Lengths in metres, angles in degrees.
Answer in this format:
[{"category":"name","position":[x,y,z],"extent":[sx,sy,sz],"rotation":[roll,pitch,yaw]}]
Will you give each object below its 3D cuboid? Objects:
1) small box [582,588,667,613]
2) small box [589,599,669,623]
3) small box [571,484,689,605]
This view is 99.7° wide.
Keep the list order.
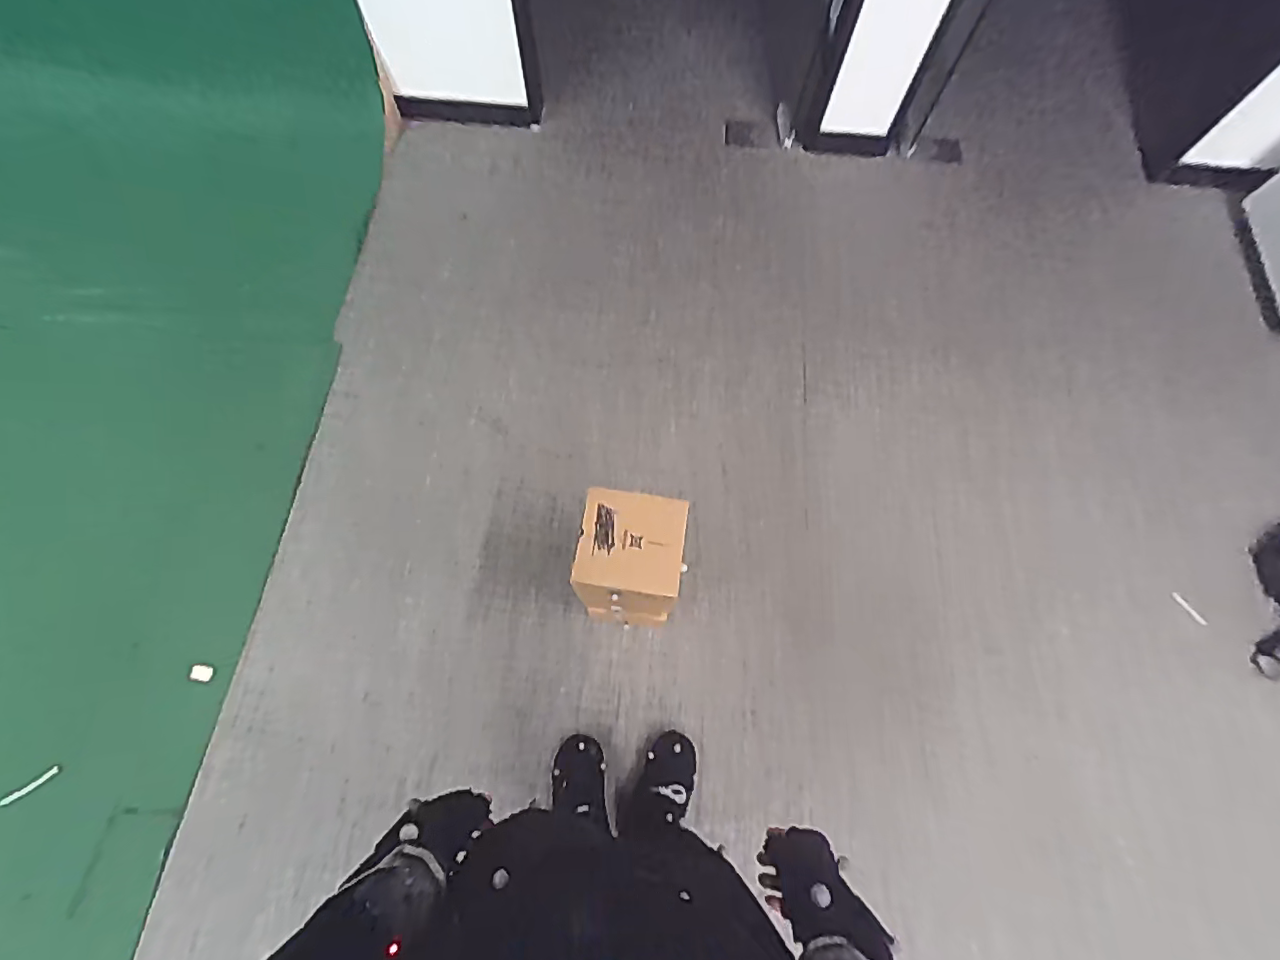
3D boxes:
[{"category":"small box","position":[-0.020,0.171,1.126],"extent":[0.168,0.176,0.179],"rotation":[7,71,3]},{"category":"small box","position":[-0.018,0.238,1.274],"extent":[0.179,0.176,0.168],"rotation":[8,70,1]},{"category":"small box","position":[-0.014,0.123,0.968],"extent":[0.179,0.176,0.168],"rotation":[9,70,3]}]
